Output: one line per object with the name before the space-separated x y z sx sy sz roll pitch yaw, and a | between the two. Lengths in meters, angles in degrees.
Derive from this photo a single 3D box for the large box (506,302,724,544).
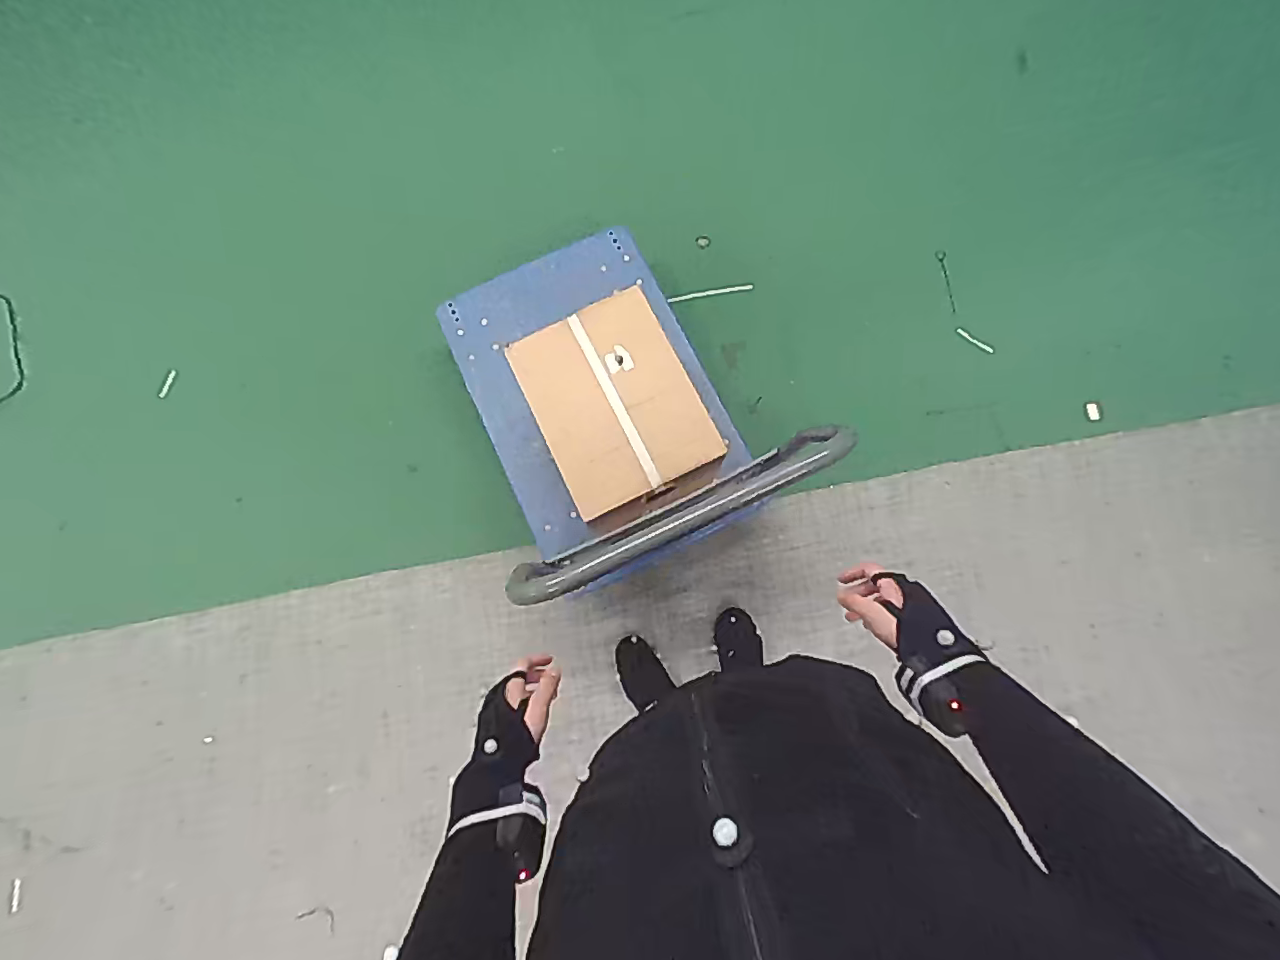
large box | -0.047 -0.108 1.237 0.320 0.320 0.408 -26 77 -4
